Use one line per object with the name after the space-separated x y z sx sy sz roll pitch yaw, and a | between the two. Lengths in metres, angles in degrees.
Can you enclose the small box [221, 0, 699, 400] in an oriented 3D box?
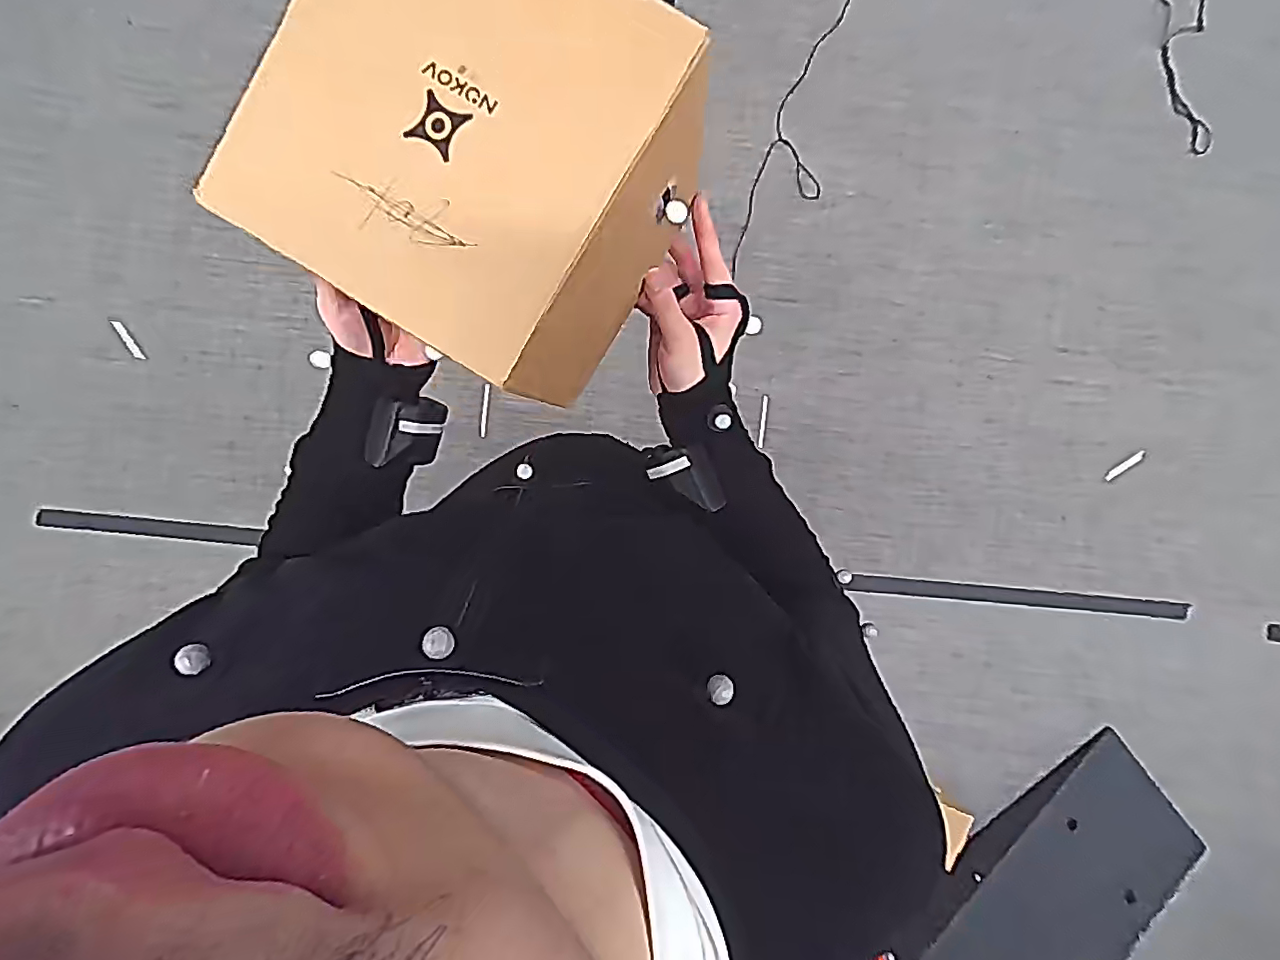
-0.082 -0.166 0.326 0.168 0.176 0.179 31 96 2 | small box
